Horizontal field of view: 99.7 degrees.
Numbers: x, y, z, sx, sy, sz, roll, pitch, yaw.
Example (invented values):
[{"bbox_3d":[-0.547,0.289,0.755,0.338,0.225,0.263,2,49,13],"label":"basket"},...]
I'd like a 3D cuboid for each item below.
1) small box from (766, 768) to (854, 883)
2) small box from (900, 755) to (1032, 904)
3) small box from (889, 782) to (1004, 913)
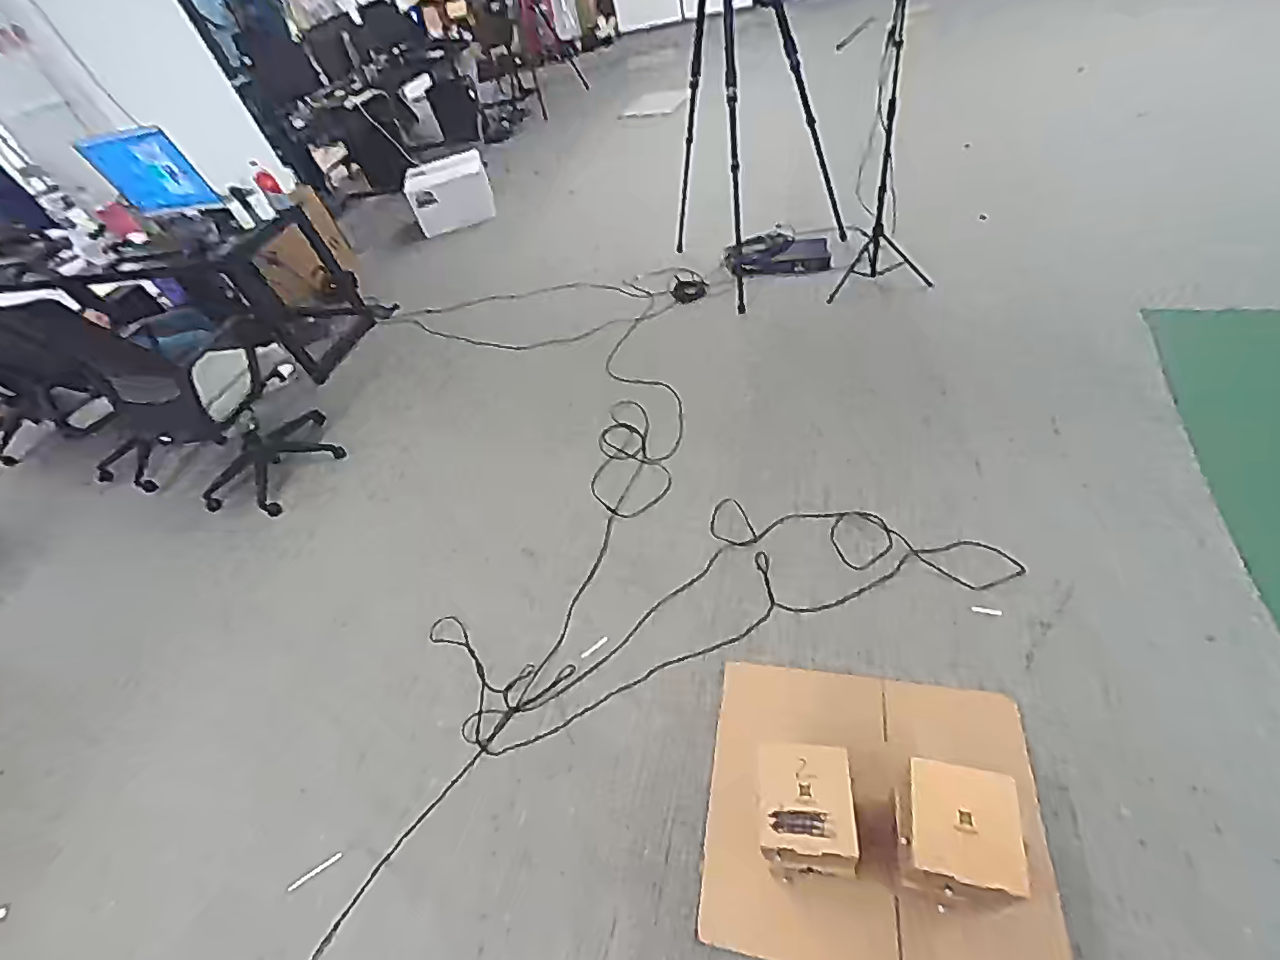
[{"bbox_3d":[0.358,0.735,1.147,0.168,0.176,0.179,-2,49,15],"label":"small box"},{"bbox_3d":[0.566,0.623,0.965,0.168,0.176,0.179,3,51,20],"label":"small box"},{"bbox_3d":[0.599,0.734,1.080,0.168,0.176,0.179,0,50,19],"label":"small box"}]
